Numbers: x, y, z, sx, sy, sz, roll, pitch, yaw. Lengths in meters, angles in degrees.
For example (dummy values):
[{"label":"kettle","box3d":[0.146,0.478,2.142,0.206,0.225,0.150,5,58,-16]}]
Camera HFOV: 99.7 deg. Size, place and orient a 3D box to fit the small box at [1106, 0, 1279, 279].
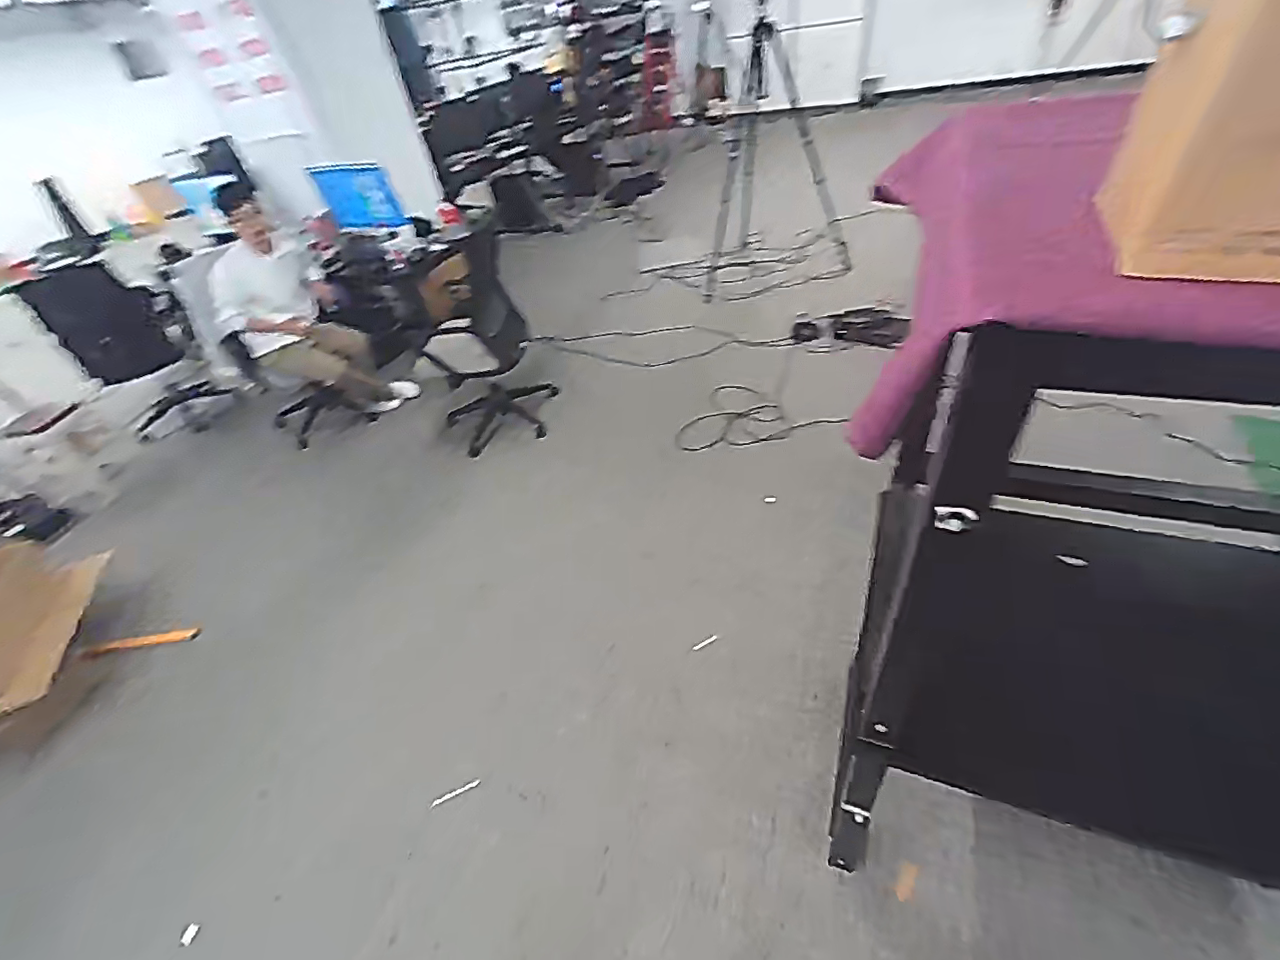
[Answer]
[{"label":"small box","box3d":[0.419,-0.230,0.326,0.168,0.176,0.179,13,45,26]}]
